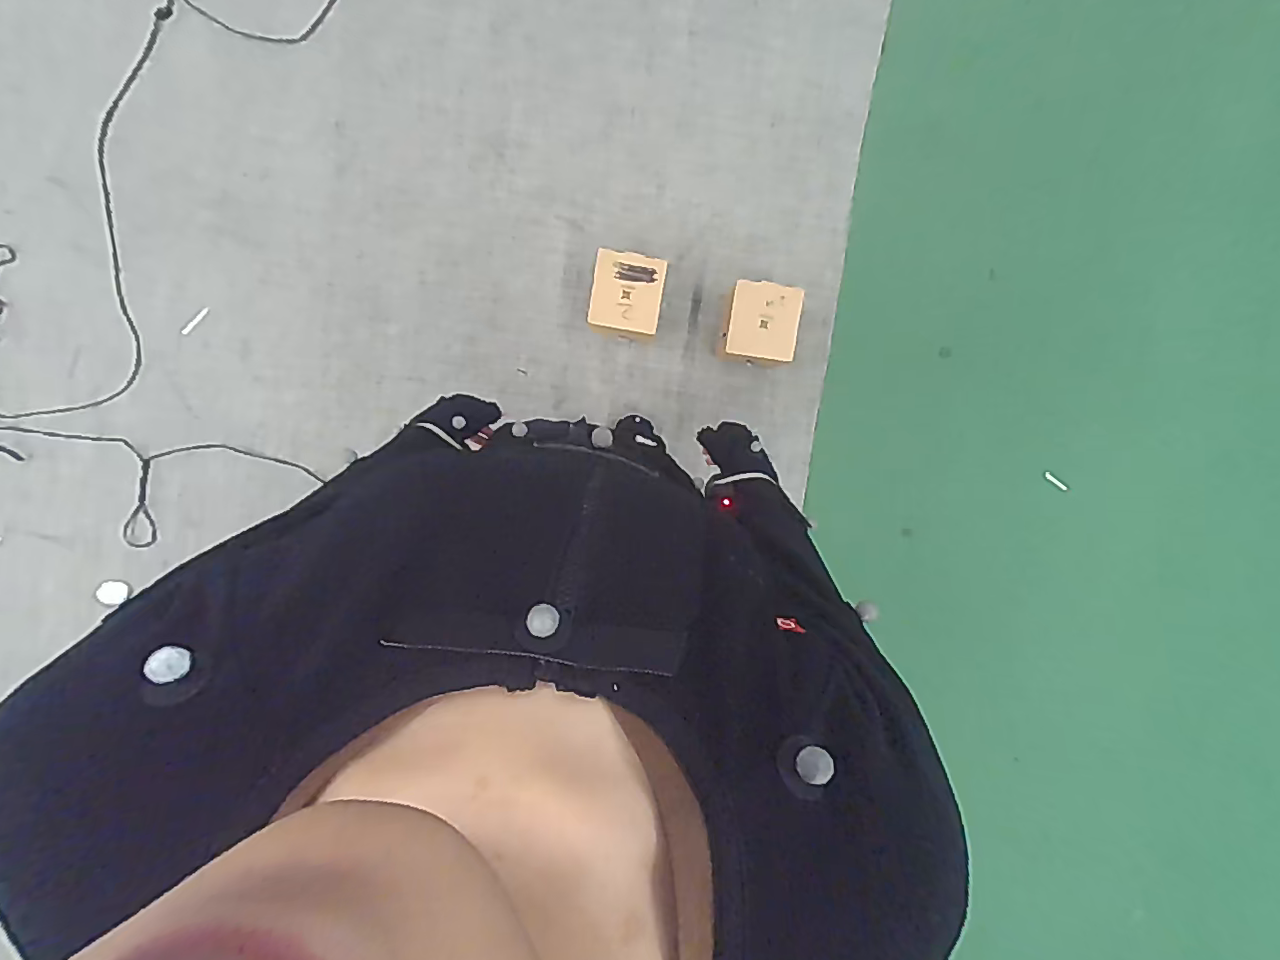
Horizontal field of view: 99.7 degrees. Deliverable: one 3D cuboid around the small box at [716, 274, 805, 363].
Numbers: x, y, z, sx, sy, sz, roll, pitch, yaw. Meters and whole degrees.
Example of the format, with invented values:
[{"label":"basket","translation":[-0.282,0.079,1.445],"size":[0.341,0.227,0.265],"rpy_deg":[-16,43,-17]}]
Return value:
[{"label":"small box","translation":[0.292,-0.394,1.349],"size":[0.168,0.176,0.179],"rpy_deg":[8,97,-3]}]
